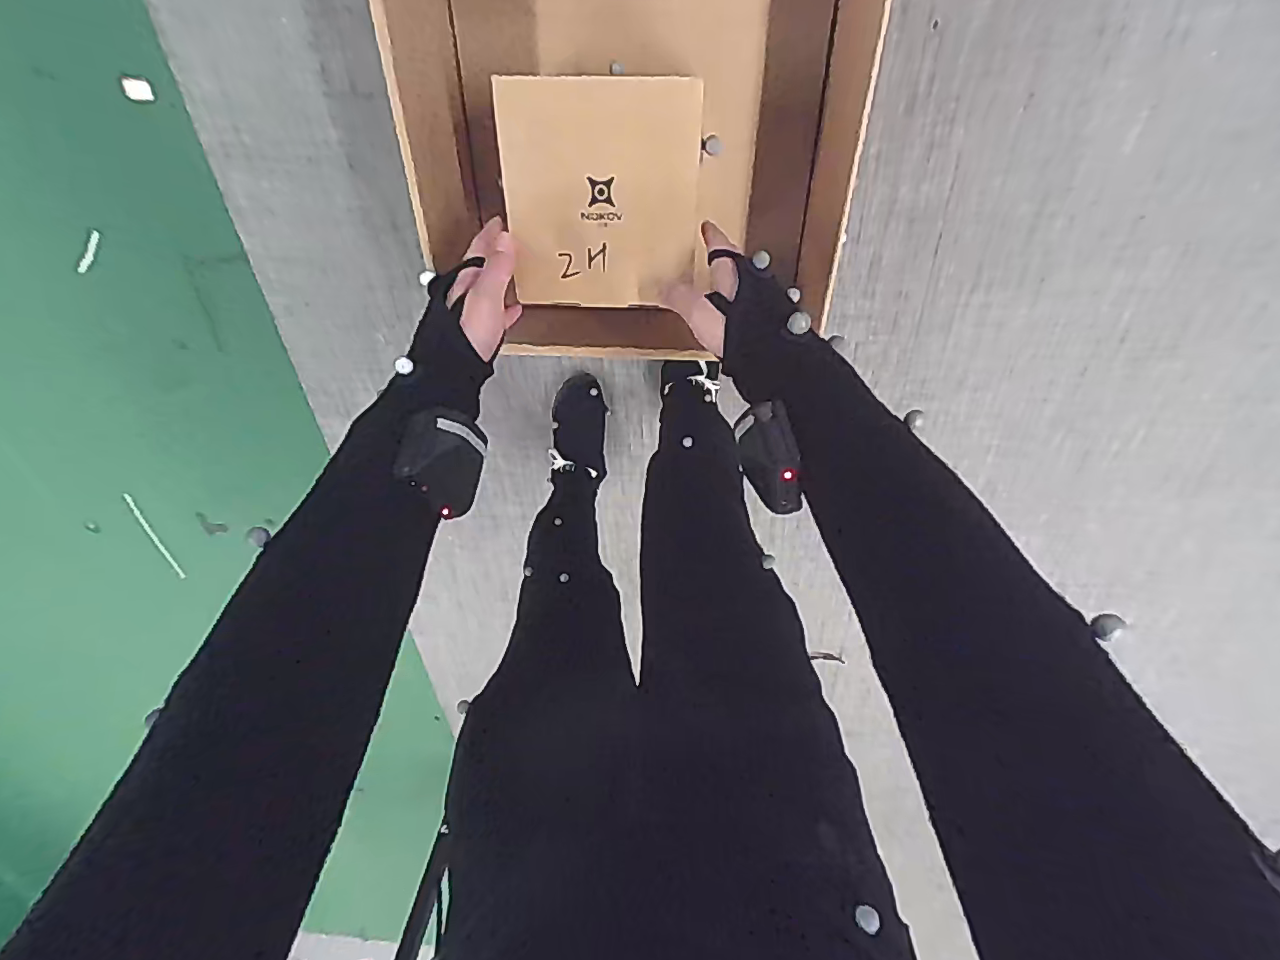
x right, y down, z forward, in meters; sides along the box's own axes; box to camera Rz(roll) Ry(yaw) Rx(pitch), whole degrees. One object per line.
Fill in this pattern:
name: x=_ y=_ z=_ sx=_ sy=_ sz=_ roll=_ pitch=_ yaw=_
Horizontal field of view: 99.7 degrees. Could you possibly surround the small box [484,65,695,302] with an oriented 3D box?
small box: x=-0.036 y=-0.284 z=0.523 sx=0.168 sy=0.176 sz=0.179 roll=3 pitch=124 yaw=4
